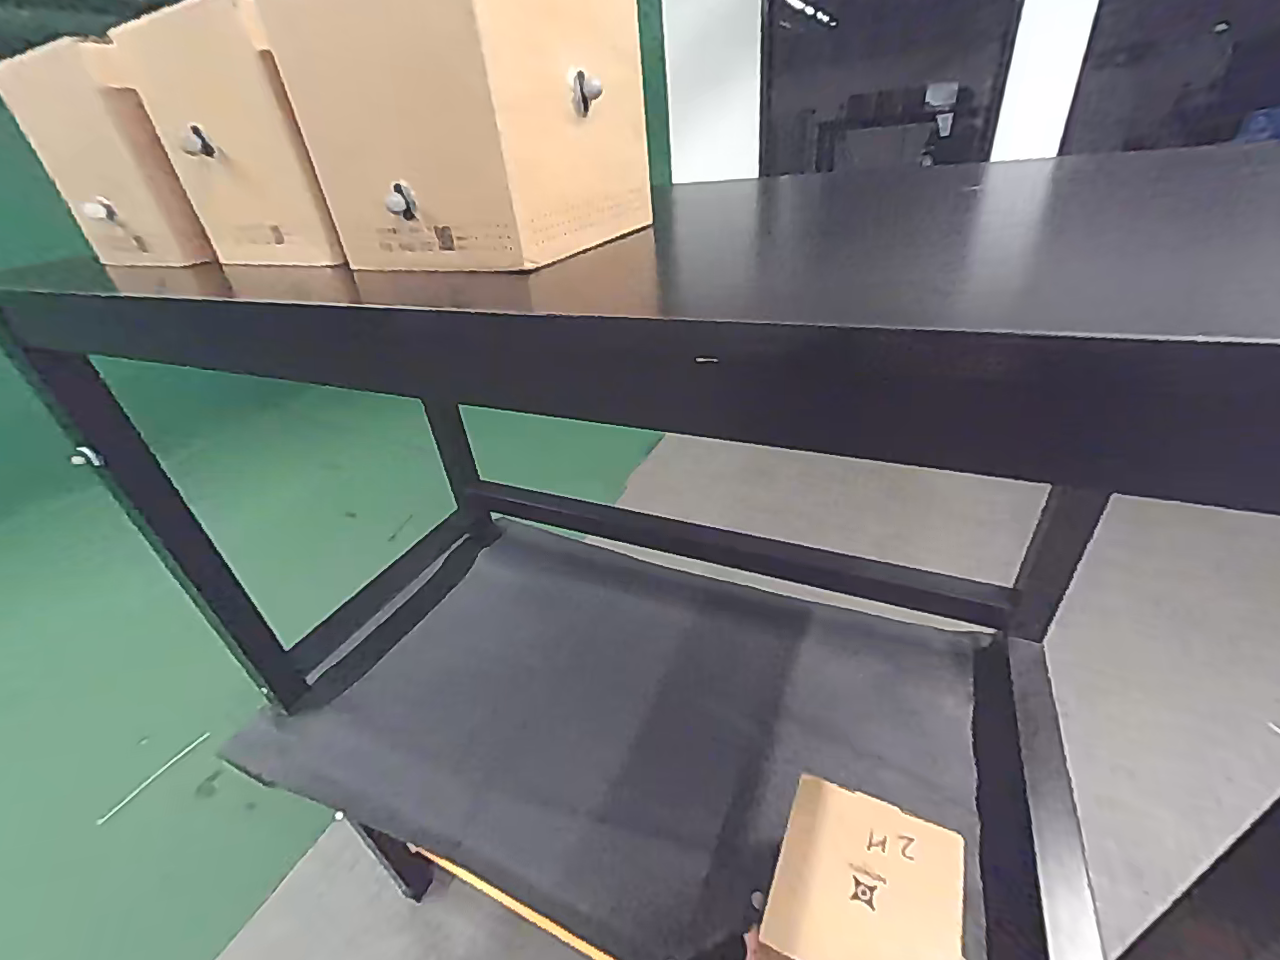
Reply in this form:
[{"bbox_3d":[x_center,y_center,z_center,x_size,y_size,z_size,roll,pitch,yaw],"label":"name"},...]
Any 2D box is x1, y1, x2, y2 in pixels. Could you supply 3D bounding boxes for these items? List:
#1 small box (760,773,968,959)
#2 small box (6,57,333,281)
[{"bbox_3d":[0.231,0.462,0.568,0.168,0.176,0.179,11,36,25],"label":"small box"},{"bbox_3d":[-0.452,-0.314,0.555,0.168,0.176,0.179,11,37,25],"label":"small box"}]
